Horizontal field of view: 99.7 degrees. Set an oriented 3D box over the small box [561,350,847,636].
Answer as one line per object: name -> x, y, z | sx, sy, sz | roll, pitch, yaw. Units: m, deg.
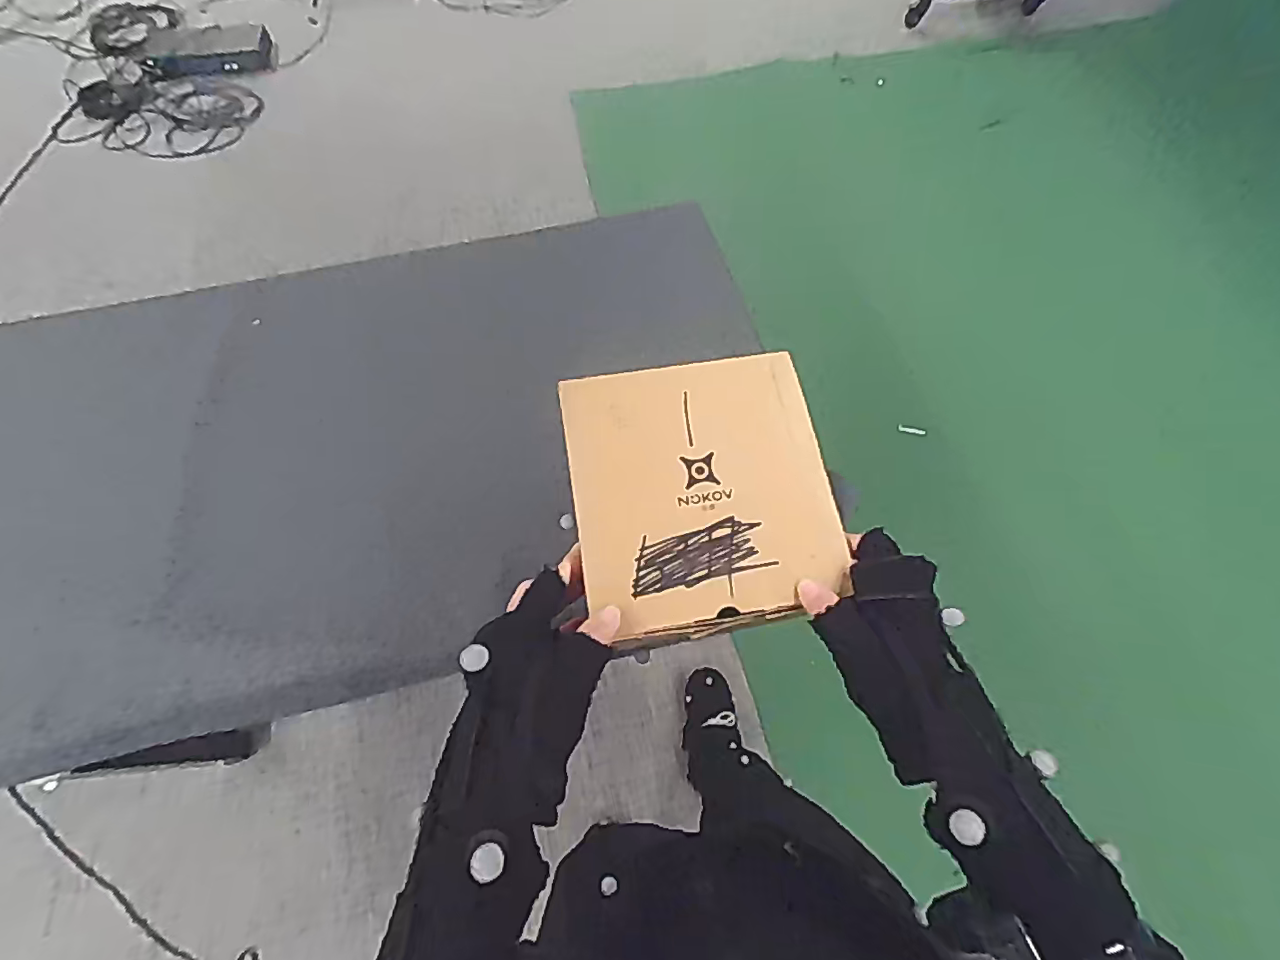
small box -> 0.035, 0.024, 0.430 | 0.168, 0.176, 0.179 | -8, 71, -5
